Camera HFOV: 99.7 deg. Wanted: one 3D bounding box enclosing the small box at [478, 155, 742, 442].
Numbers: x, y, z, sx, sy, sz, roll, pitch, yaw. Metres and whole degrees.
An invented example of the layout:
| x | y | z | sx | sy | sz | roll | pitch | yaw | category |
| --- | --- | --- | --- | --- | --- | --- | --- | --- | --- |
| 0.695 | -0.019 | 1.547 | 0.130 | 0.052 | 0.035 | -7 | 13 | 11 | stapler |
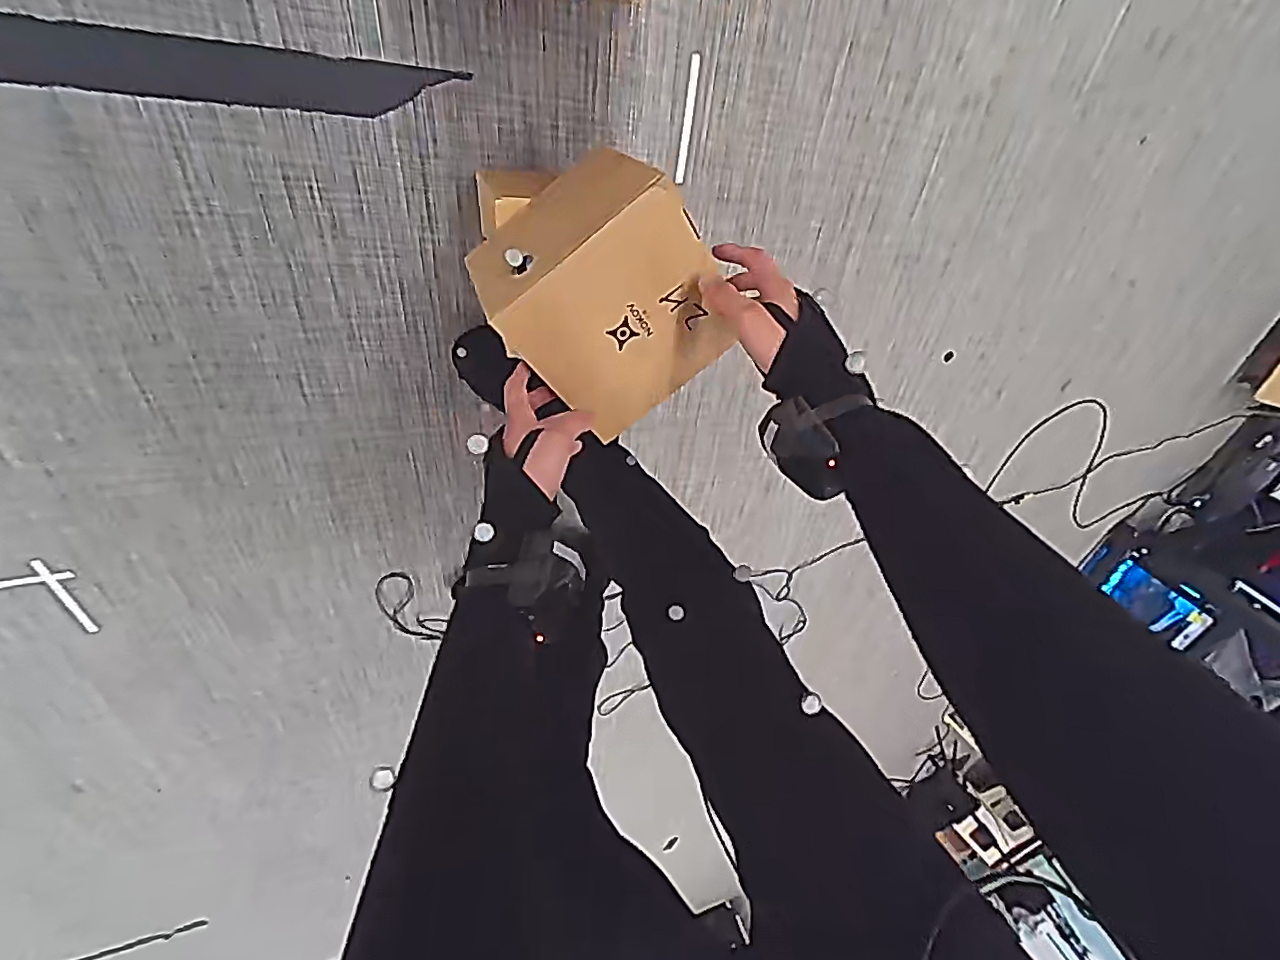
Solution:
| x | y | z | sx | sy | sz | roll | pitch | yaw | category |
| --- | --- | --- | --- | --- | --- | --- | --- | --- | --- |
| -0.038 | -0.177 | 0.523 | 0.179 | 0.176 | 0.168 | -38 | 133 | 6 | small box |

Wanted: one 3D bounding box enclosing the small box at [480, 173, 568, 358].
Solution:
| x | y | z | sx | sy | sz | roll | pitch | yaw | category |
| --- | --- | --- | --- | --- | --- | --- | --- | --- | --- |
| -0.093 | -0.263 | 0.652 | 0.179 | 0.176 | 0.168 | -10 | 130 | -18 | small box |
